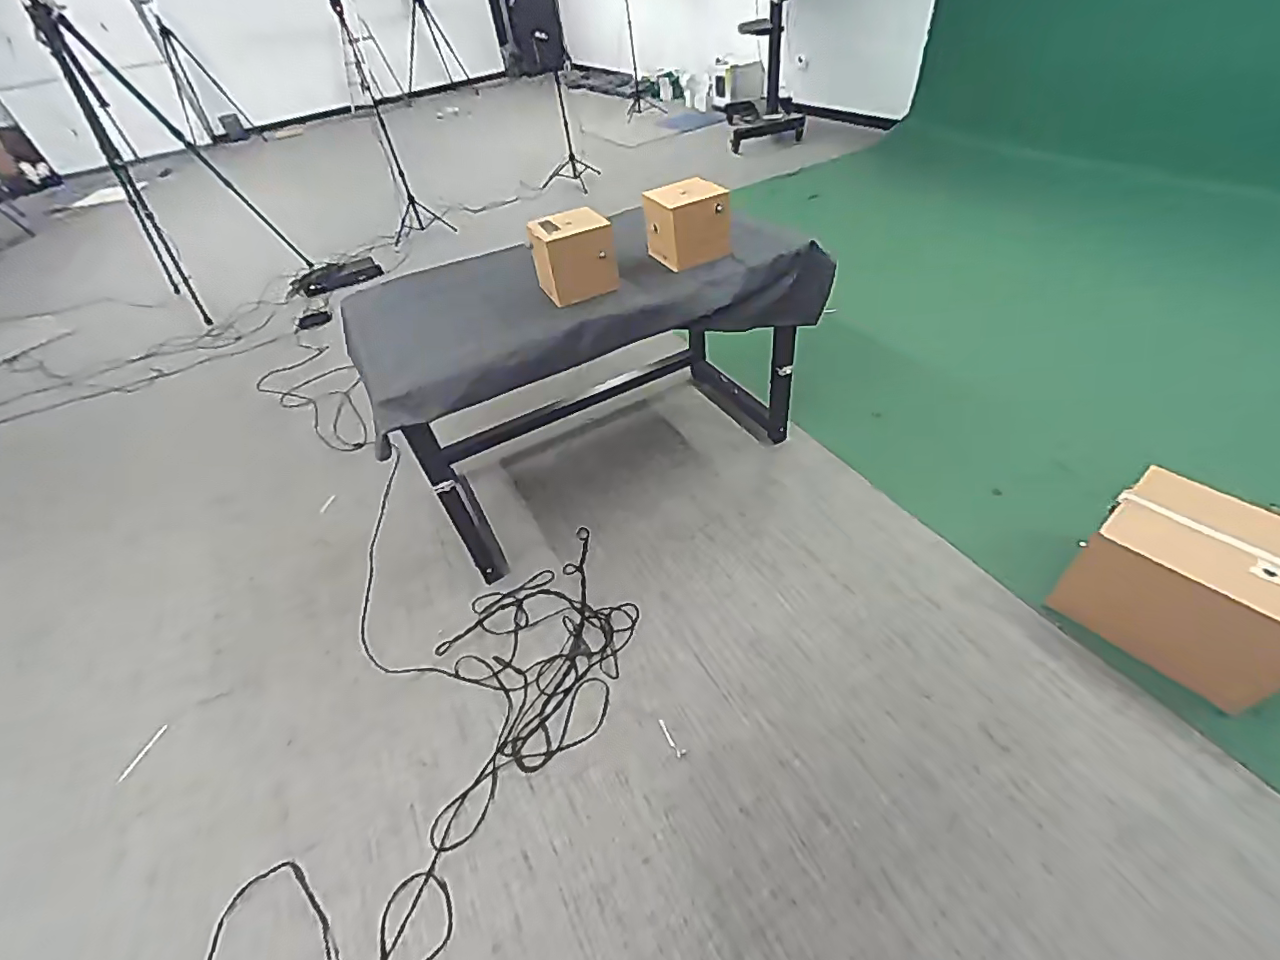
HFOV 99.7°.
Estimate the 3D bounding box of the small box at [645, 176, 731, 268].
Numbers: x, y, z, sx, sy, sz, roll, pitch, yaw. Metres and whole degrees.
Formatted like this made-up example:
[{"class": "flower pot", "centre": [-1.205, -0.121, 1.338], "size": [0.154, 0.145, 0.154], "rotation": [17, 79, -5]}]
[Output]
[{"class": "small box", "centre": [0.134, -0.693, 1.456], "size": [0.179, 0.176, 0.168], "rotation": [-23, 46, -14]}]
